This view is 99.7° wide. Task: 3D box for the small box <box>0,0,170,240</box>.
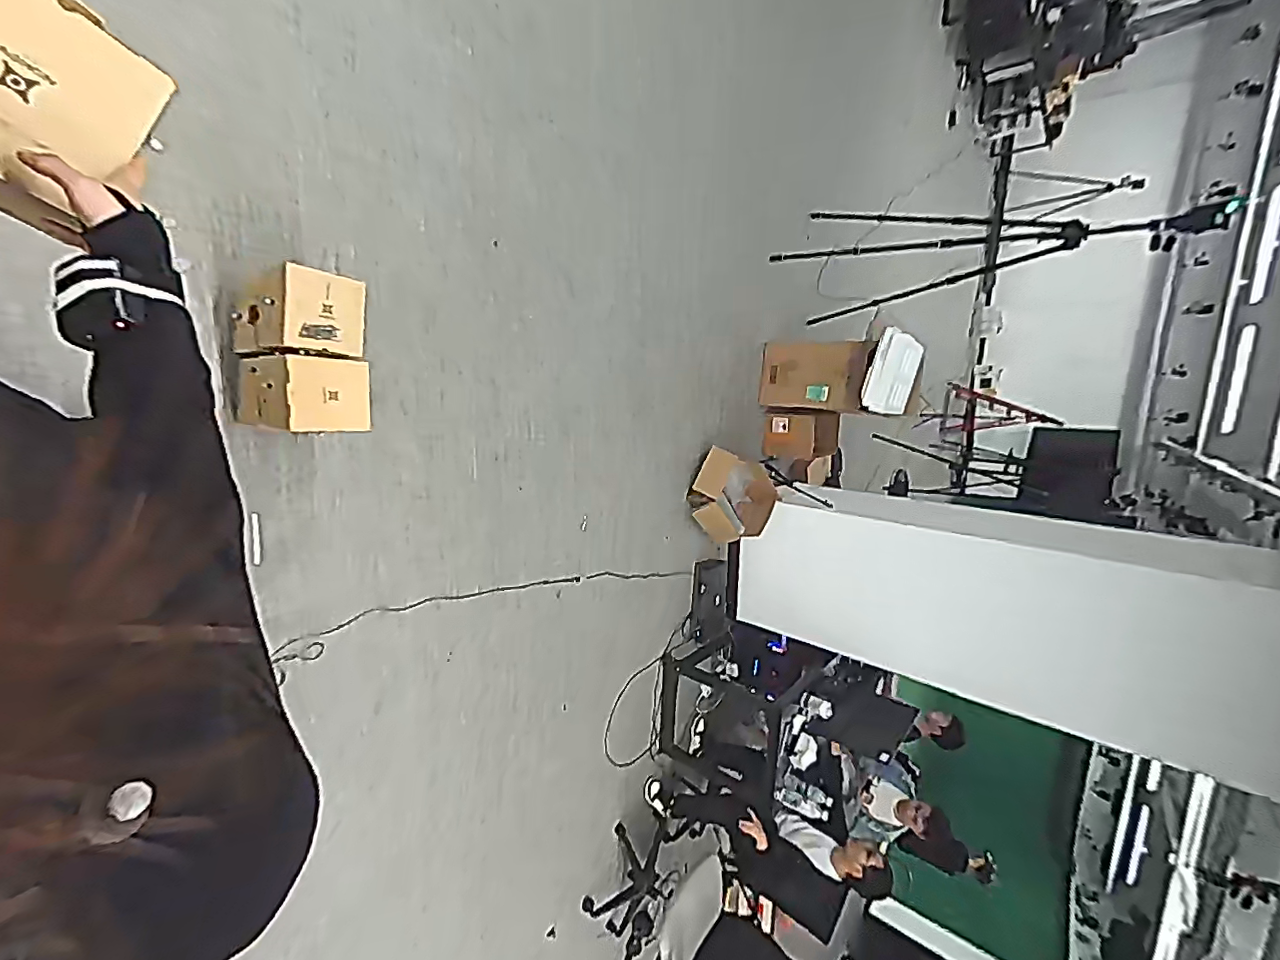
[{"bbox_3d":[-0.604,-0.360,0.515,0.168,0.176,0.179,31,74,-50],"label":"small box"}]
